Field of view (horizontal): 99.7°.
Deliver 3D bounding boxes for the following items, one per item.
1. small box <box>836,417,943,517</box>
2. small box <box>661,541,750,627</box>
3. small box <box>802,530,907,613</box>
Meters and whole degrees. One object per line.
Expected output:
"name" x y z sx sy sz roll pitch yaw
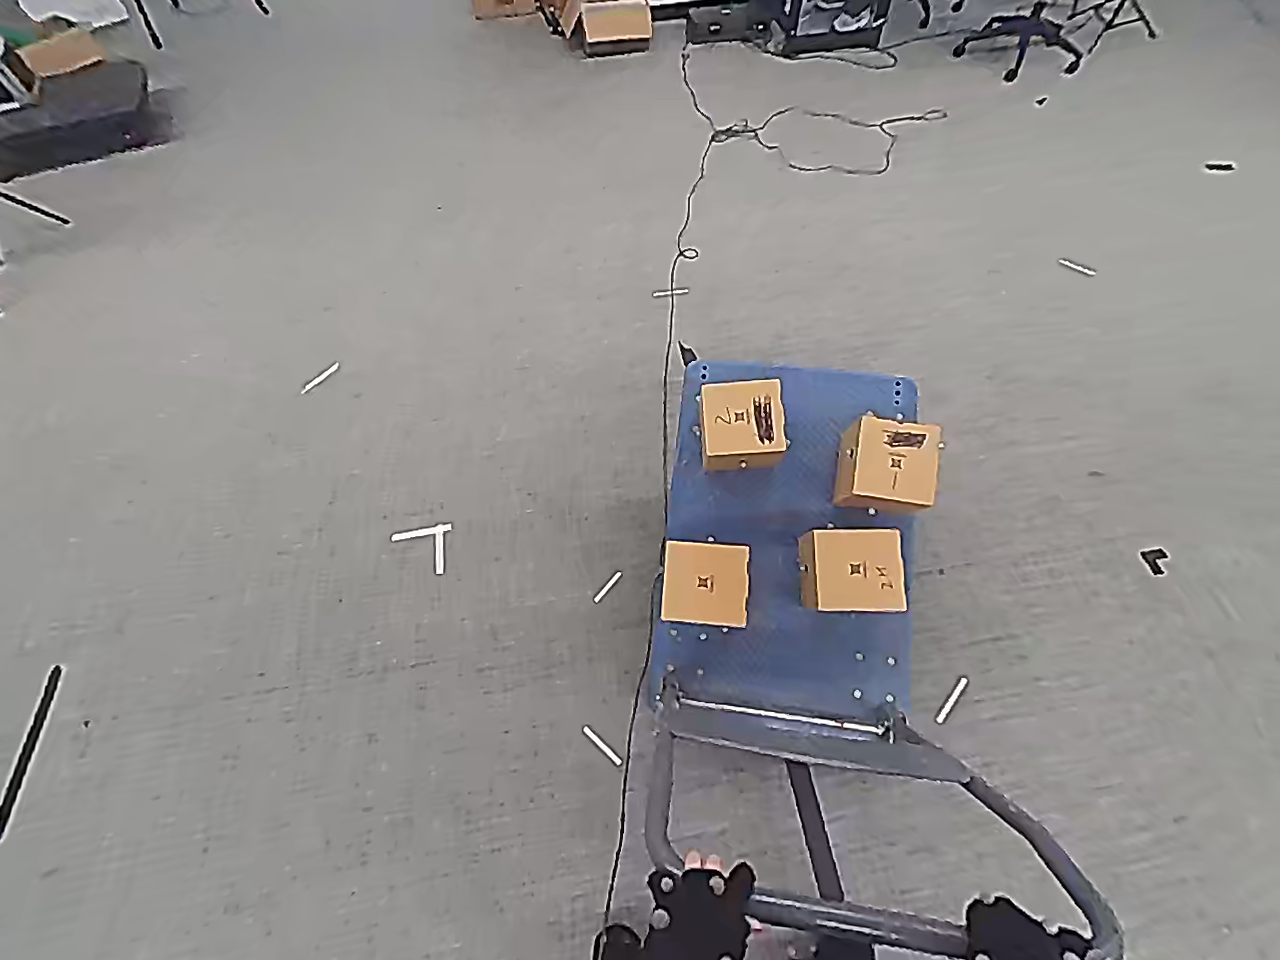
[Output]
"small box" 0.549 -0.024 1.209 0.168 0.176 0.179 10 81 8
"small box" 0.142 0.230 1.195 0.179 0.176 0.168 4 79 4
"small box" 0.453 0.201 1.171 0.179 0.176 0.168 0 79 5
